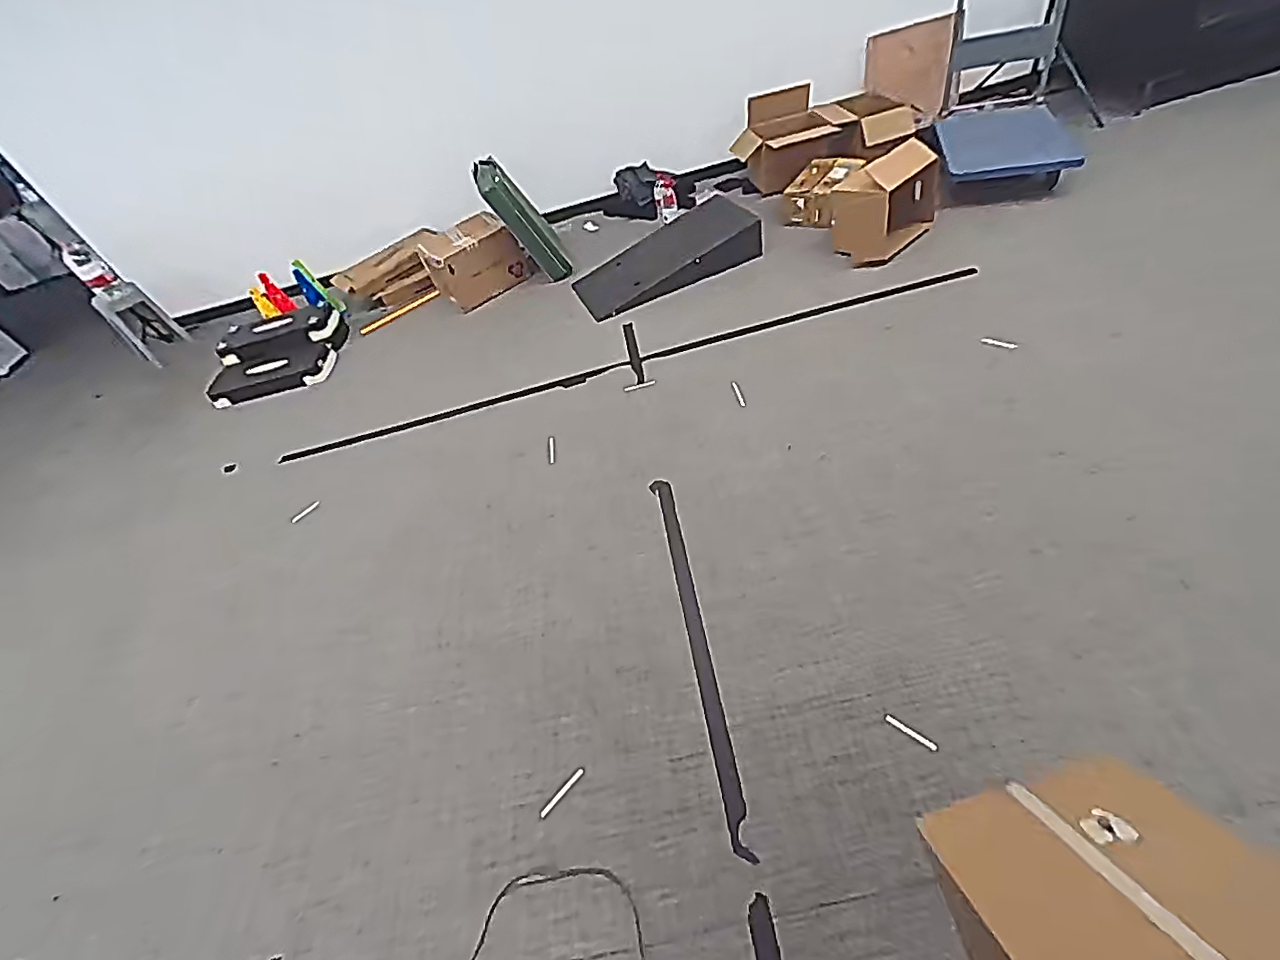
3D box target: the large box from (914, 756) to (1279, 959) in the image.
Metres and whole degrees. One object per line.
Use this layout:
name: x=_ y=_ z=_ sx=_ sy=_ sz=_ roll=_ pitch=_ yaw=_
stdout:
large box: x=0.609 y=0.609 z=0.630 sx=0.320 sy=0.408 sz=0.320 roll=-20 pitch=87 yaw=3
